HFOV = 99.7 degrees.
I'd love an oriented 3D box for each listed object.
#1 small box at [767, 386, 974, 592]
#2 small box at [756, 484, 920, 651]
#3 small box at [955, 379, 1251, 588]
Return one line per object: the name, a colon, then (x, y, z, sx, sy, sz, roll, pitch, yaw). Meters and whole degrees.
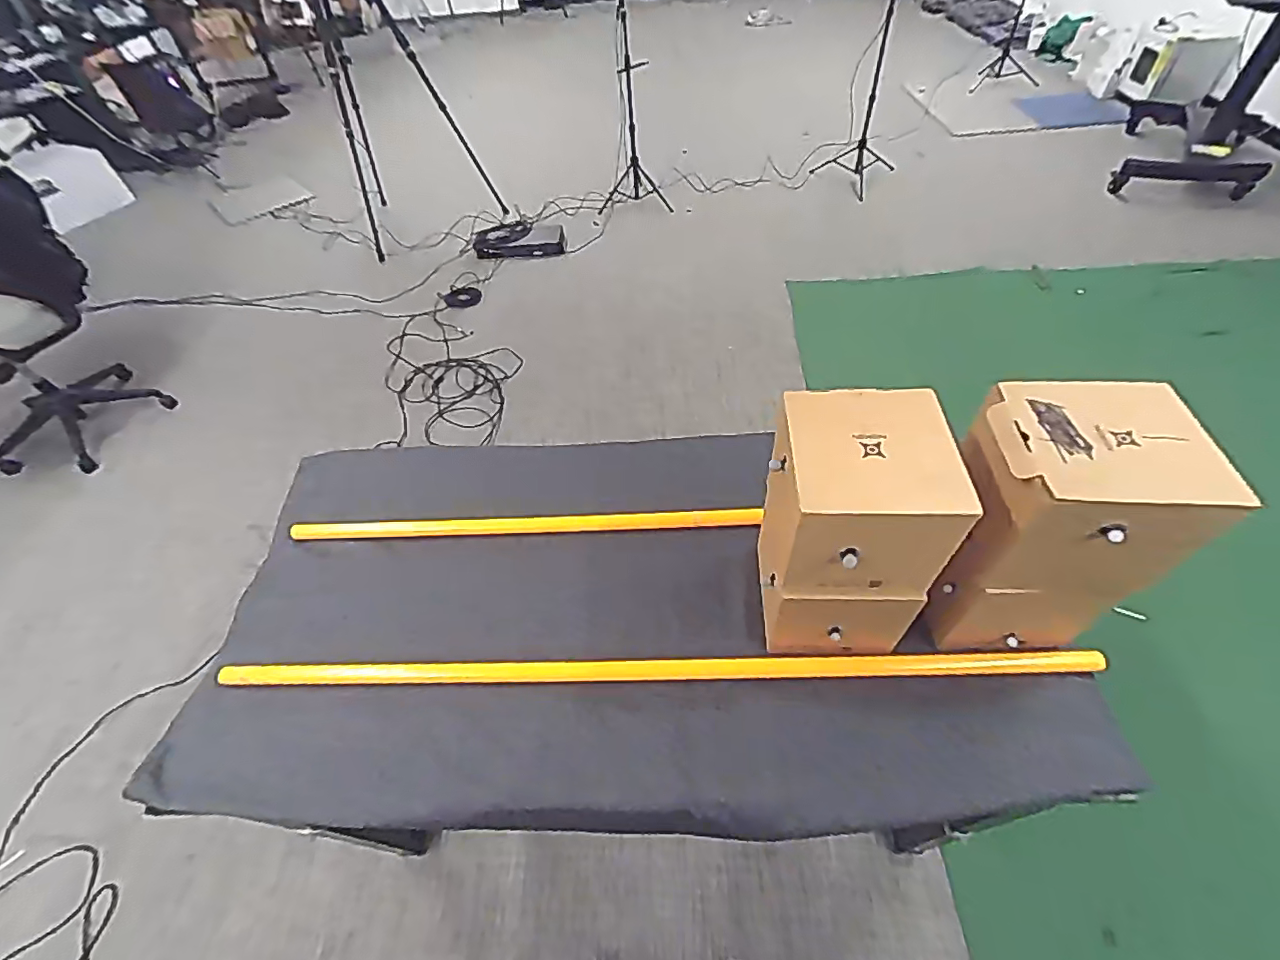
small box: (0.240, 0.015, 0.616, 0.168, 0.176, 0.179, -1, 50, 6)
small box: (0.252, 0.121, 0.738, 0.168, 0.176, 0.179, 0, 51, 5)
small box: (0.468, 0.007, 0.597, 0.179, 0.176, 0.168, 2, 52, 6)
